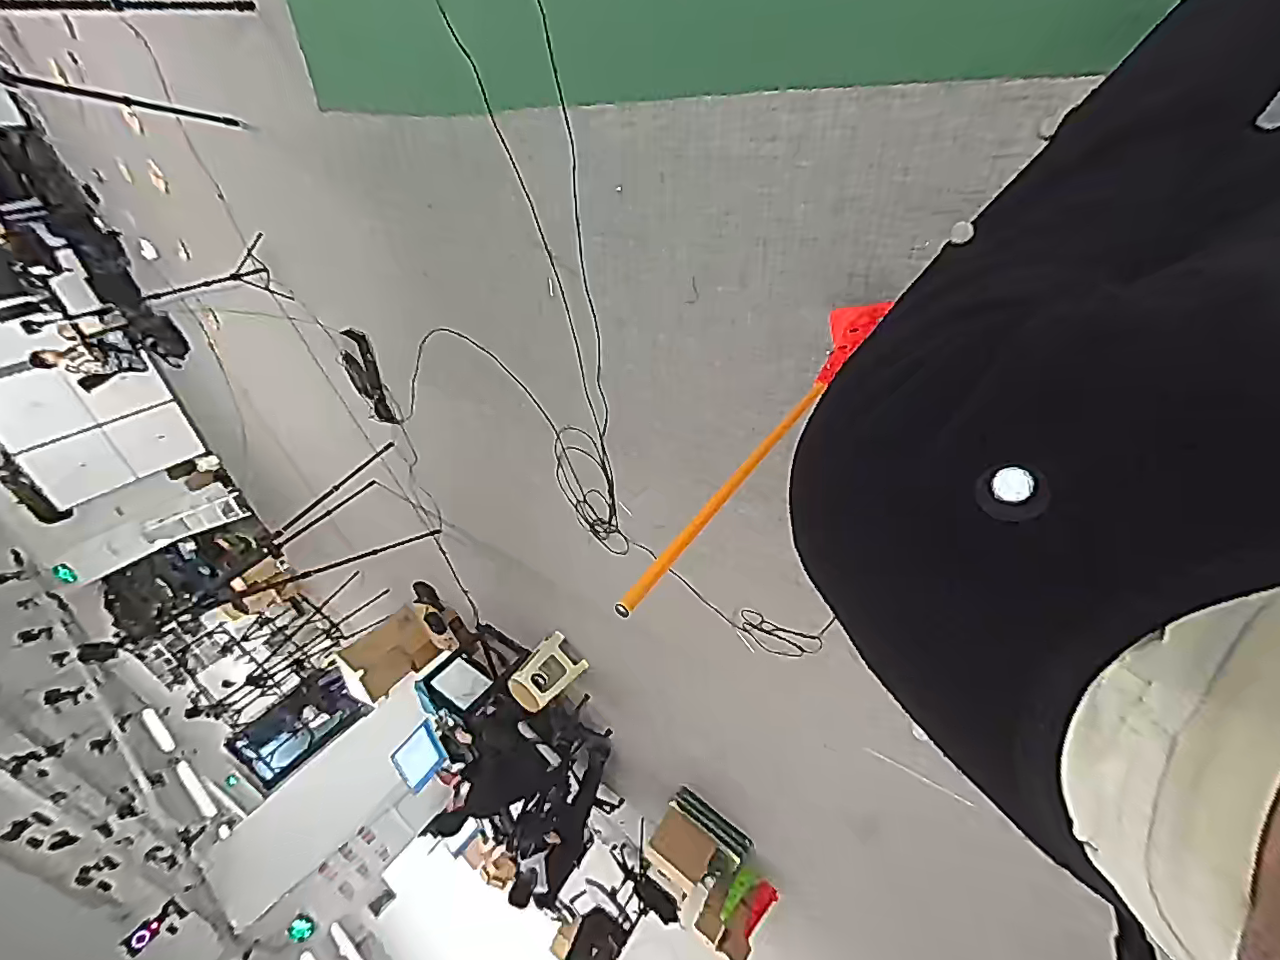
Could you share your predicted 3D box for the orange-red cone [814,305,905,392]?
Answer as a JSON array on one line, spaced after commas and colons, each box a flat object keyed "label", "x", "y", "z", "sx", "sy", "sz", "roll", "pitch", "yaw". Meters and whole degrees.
[{"label": "orange-red cone", "x": 0.559, "y": -0.322, "z": 1.463, "sx": 0.199, "sy": 0.360, "sz": 0.198, "roll": 8, "pitch": 125, "yaw": 41}]
